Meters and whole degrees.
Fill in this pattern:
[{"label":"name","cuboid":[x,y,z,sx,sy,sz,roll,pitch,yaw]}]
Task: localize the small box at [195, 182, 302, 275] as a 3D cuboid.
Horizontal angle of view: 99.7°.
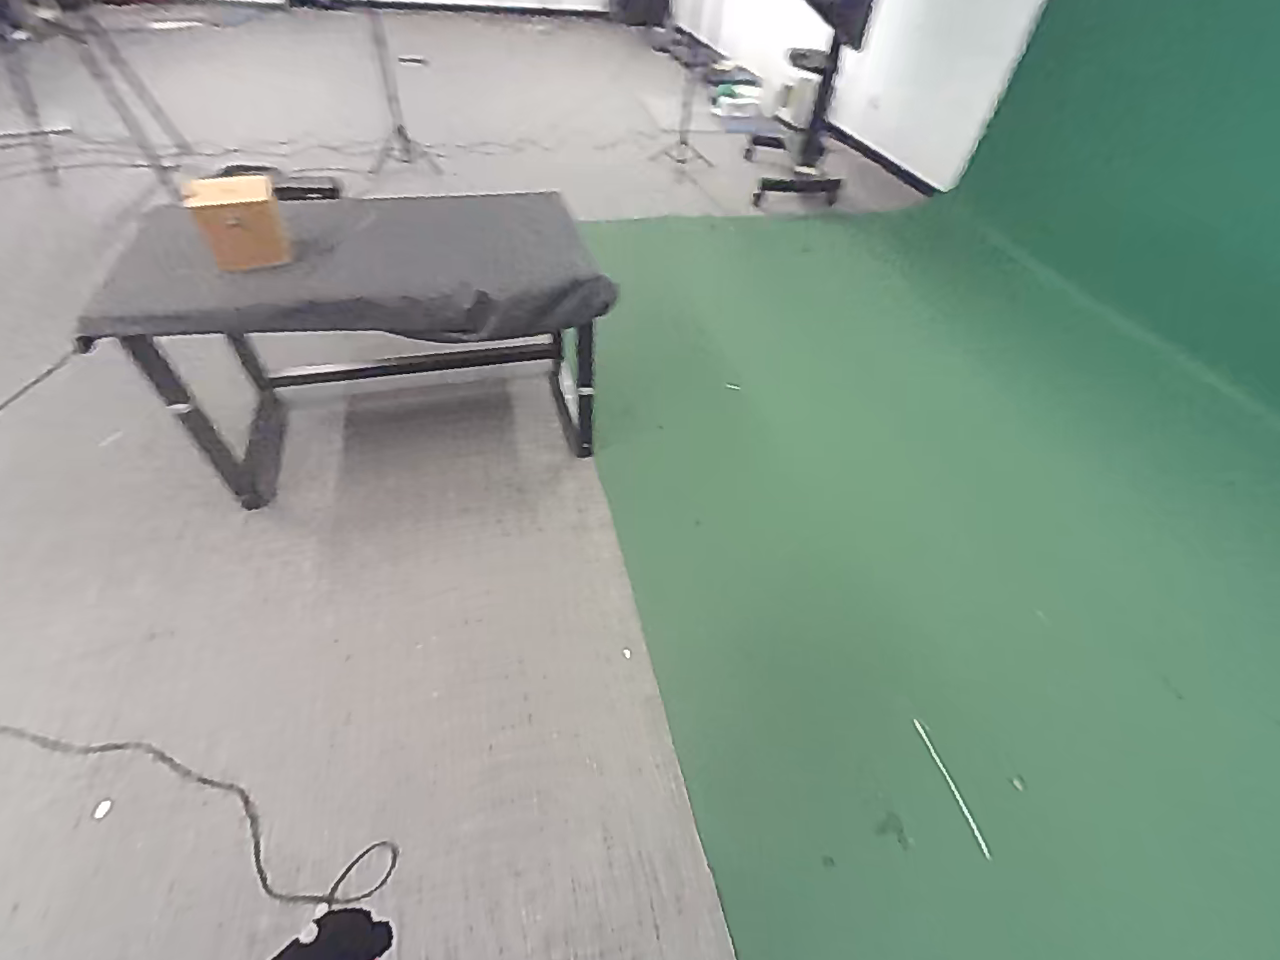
[{"label":"small box","cuboid":[-1.010,-0.652,1.406,0.179,0.176,0.168,-16,52,-20]}]
